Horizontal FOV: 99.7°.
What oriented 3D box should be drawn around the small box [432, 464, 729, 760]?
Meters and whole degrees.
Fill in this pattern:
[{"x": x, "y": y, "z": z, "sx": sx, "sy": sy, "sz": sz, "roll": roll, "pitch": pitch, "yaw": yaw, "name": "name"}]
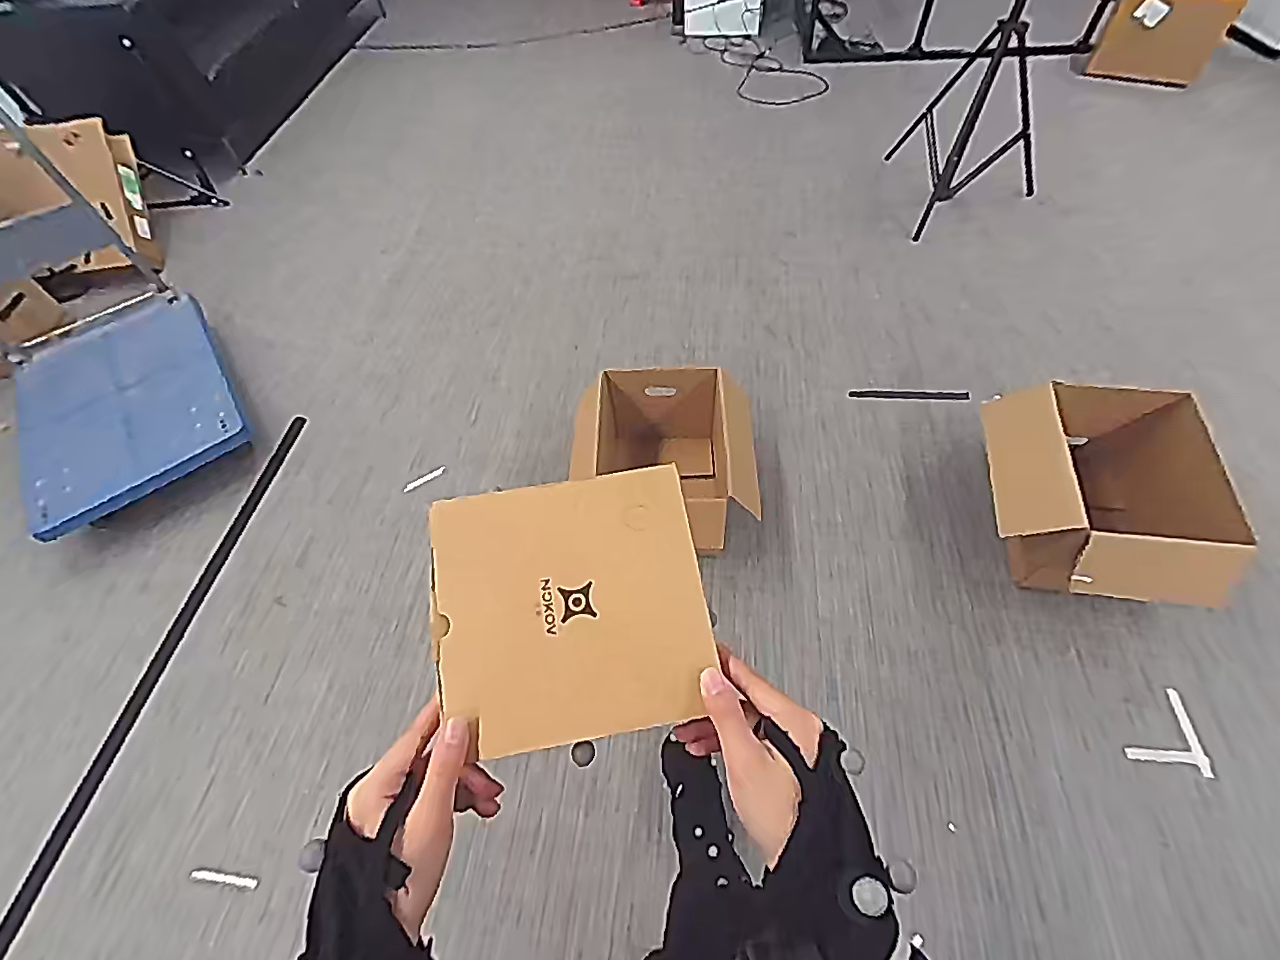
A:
[{"x": -0.044, "y": 0.103, "z": 0.425, "sx": 0.179, "sy": 0.176, "sz": 0.168, "roll": -10, "pitch": 71, "yaw": -3, "name": "small box"}]
